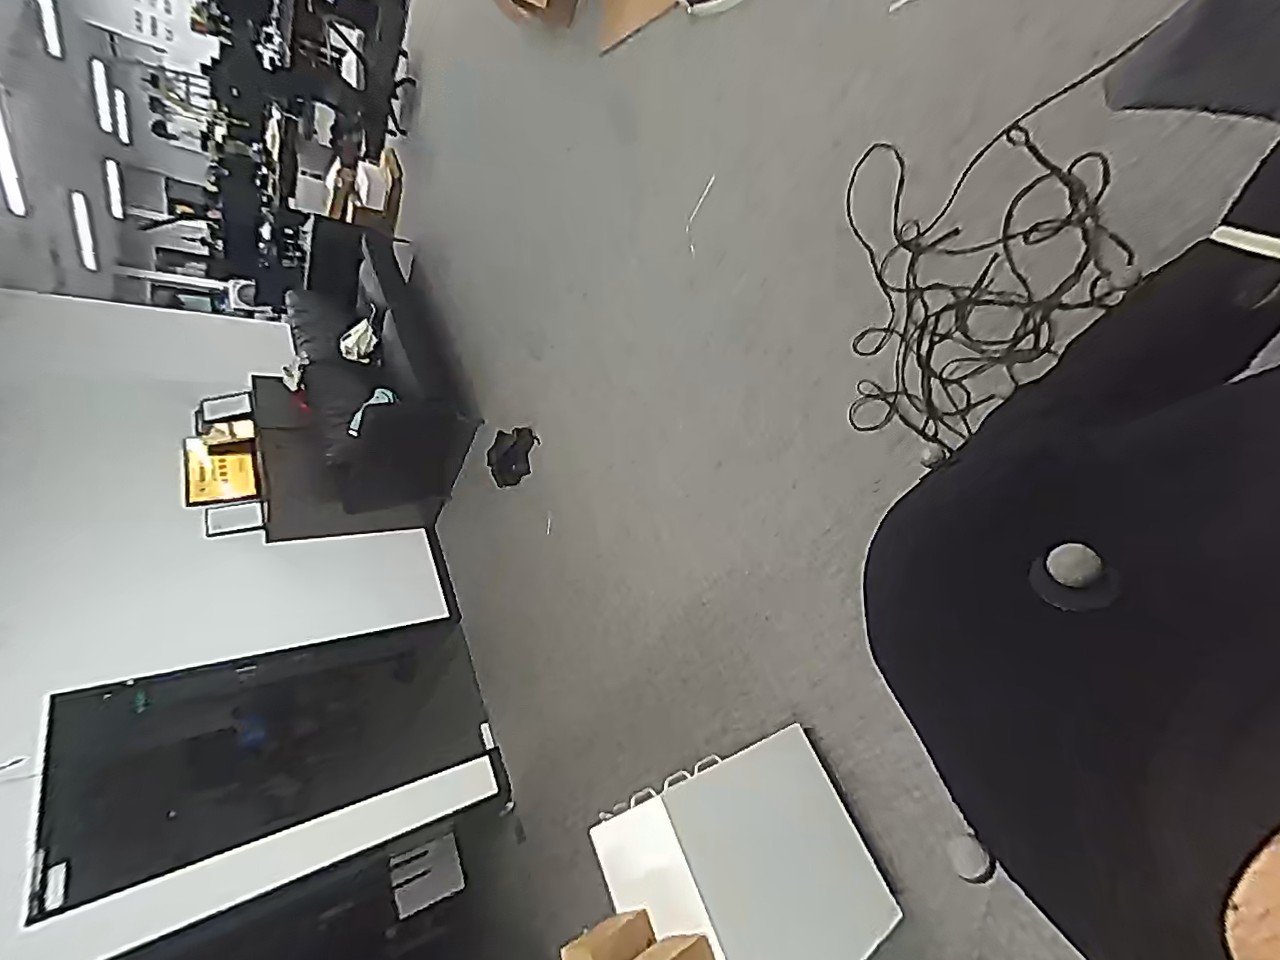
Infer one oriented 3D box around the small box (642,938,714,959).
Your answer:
[{"bbox_3d":[0.070,1.095,1.128,0.179,0.176,0.168,-52,51,41],"label":"small box"}]
